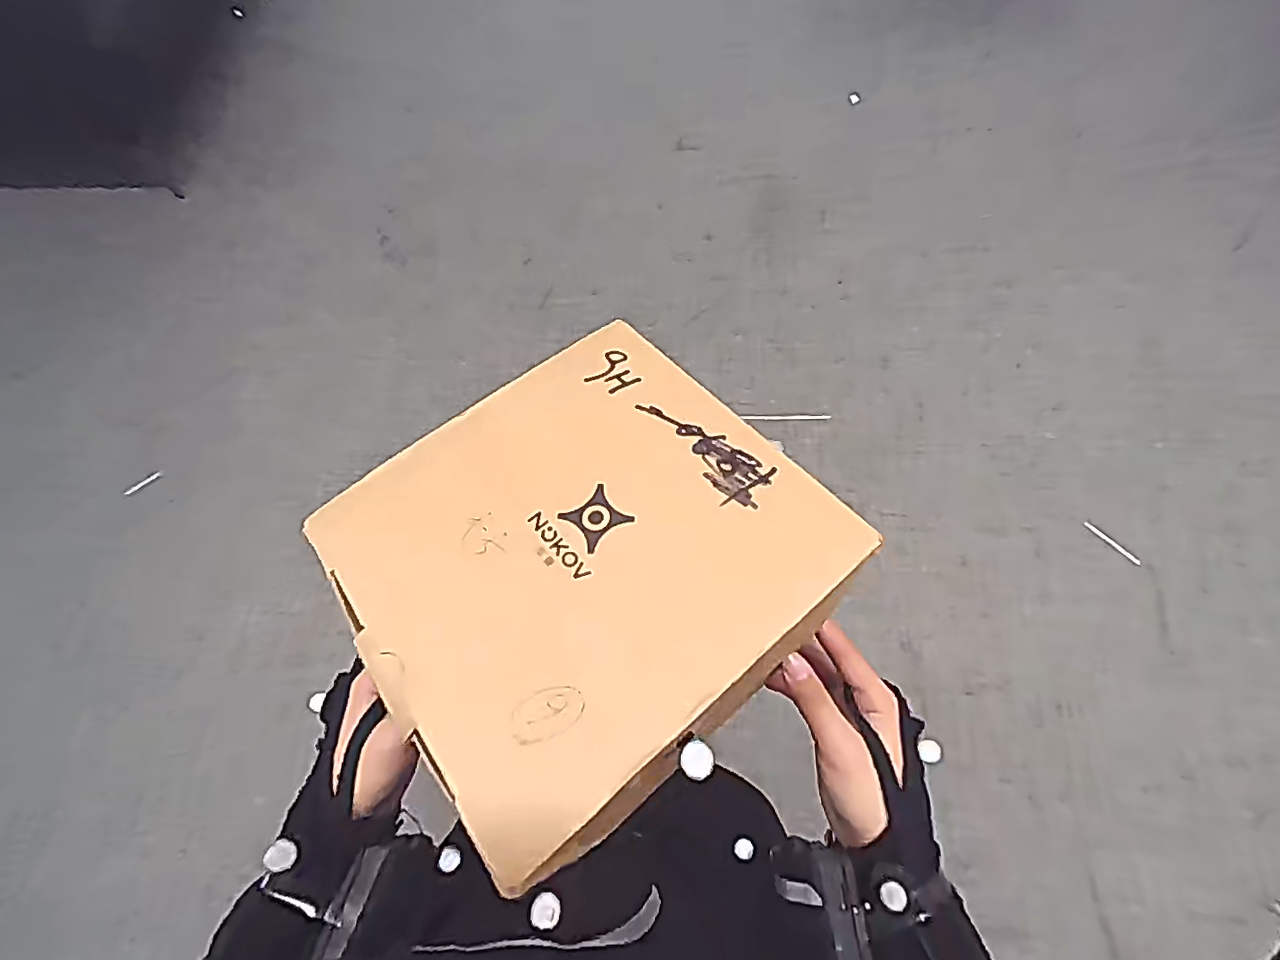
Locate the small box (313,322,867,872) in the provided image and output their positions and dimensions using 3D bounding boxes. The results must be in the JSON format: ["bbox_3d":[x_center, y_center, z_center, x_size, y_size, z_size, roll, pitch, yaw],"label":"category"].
[{"bbox_3d":[-0.019,0.060,0.288,0.179,0.176,0.168,-37,63,-15],"label":"small box"}]
